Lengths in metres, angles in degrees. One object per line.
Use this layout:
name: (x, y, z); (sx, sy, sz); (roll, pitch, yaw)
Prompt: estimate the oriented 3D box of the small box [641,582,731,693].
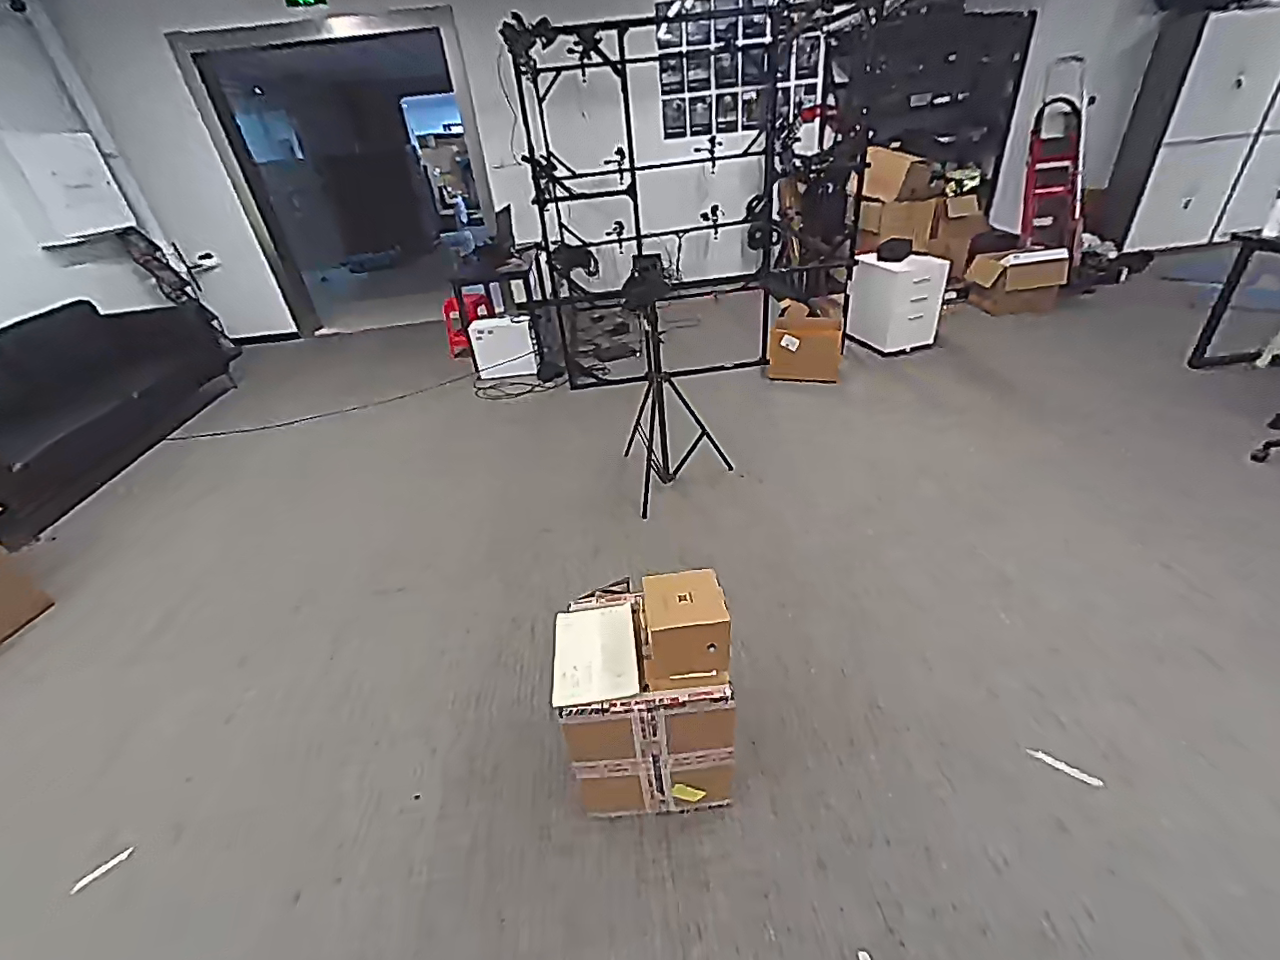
small box: (0.101, 0.361, 1.238); (0.179, 0.176, 0.168); (-8, 34, -4)
